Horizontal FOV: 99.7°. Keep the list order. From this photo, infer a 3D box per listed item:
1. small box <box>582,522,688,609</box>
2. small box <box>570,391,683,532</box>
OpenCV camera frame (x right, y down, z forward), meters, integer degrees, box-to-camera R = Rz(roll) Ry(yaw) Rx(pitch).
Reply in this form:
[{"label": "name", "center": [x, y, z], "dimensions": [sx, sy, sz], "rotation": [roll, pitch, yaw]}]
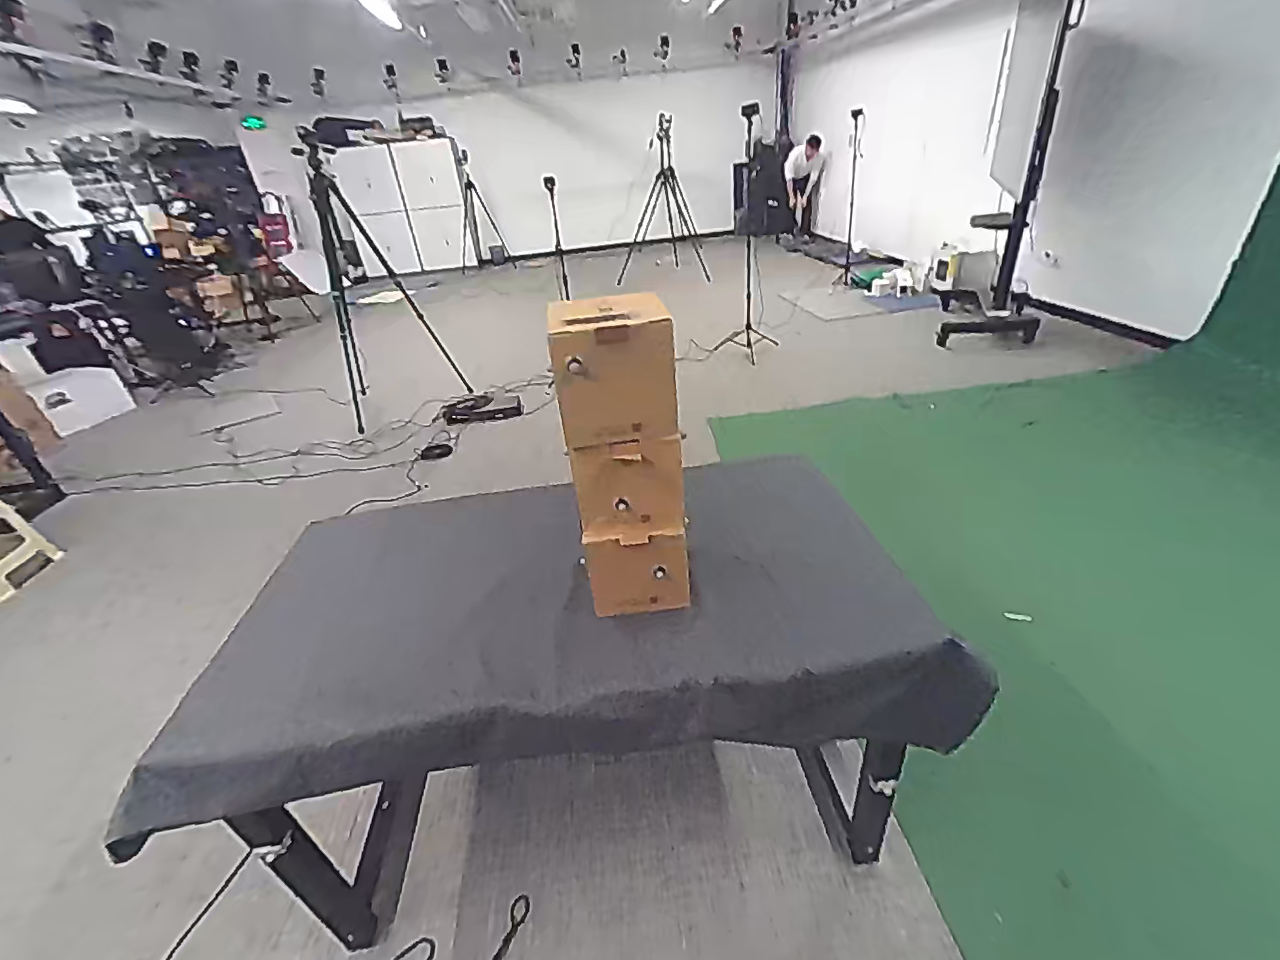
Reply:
[{"label": "small box", "center": [-0.007, 0.114, 0.962], "dimensions": [0.168, 0.176, 0.179], "rotation": [-5, 30, -1]}, {"label": "small box", "center": [-0.019, -0.033, 0.893], "dimensions": [0.168, 0.176, 0.179], "rotation": [-5, 32, 0]}]
